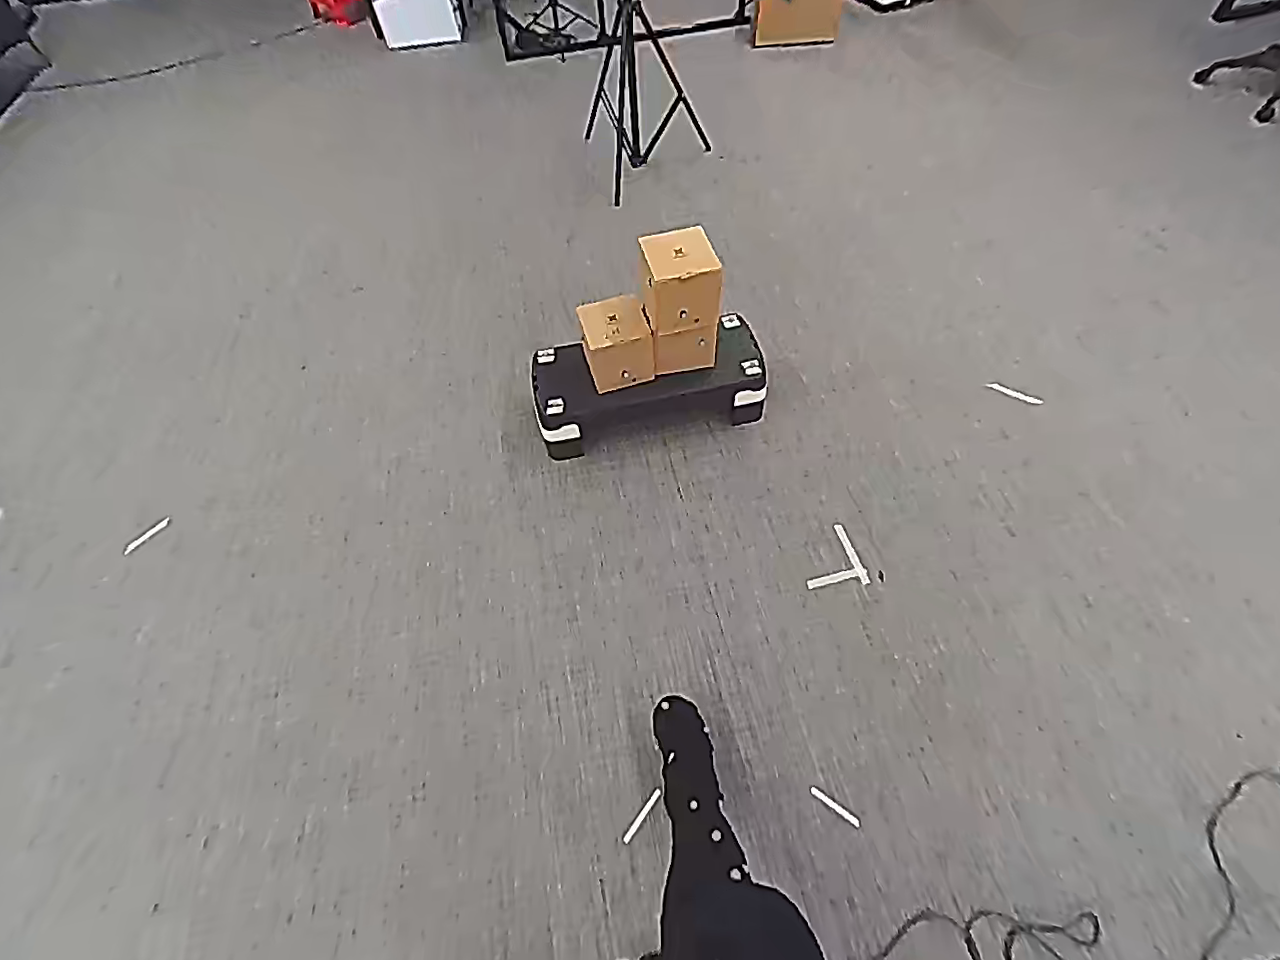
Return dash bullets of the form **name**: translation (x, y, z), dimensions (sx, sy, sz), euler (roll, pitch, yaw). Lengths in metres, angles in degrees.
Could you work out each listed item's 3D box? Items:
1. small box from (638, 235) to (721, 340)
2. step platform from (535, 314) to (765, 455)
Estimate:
- **small box**: translation (0.094, -0.486, 1.370), dimensions (0.168, 0.176, 0.179), euler (-13, 58, -6)
- **step platform**: translation (0.027, -0.298, 1.653), dimensions (0.684, 0.204, 0.286), euler (-12, 57, -3)
